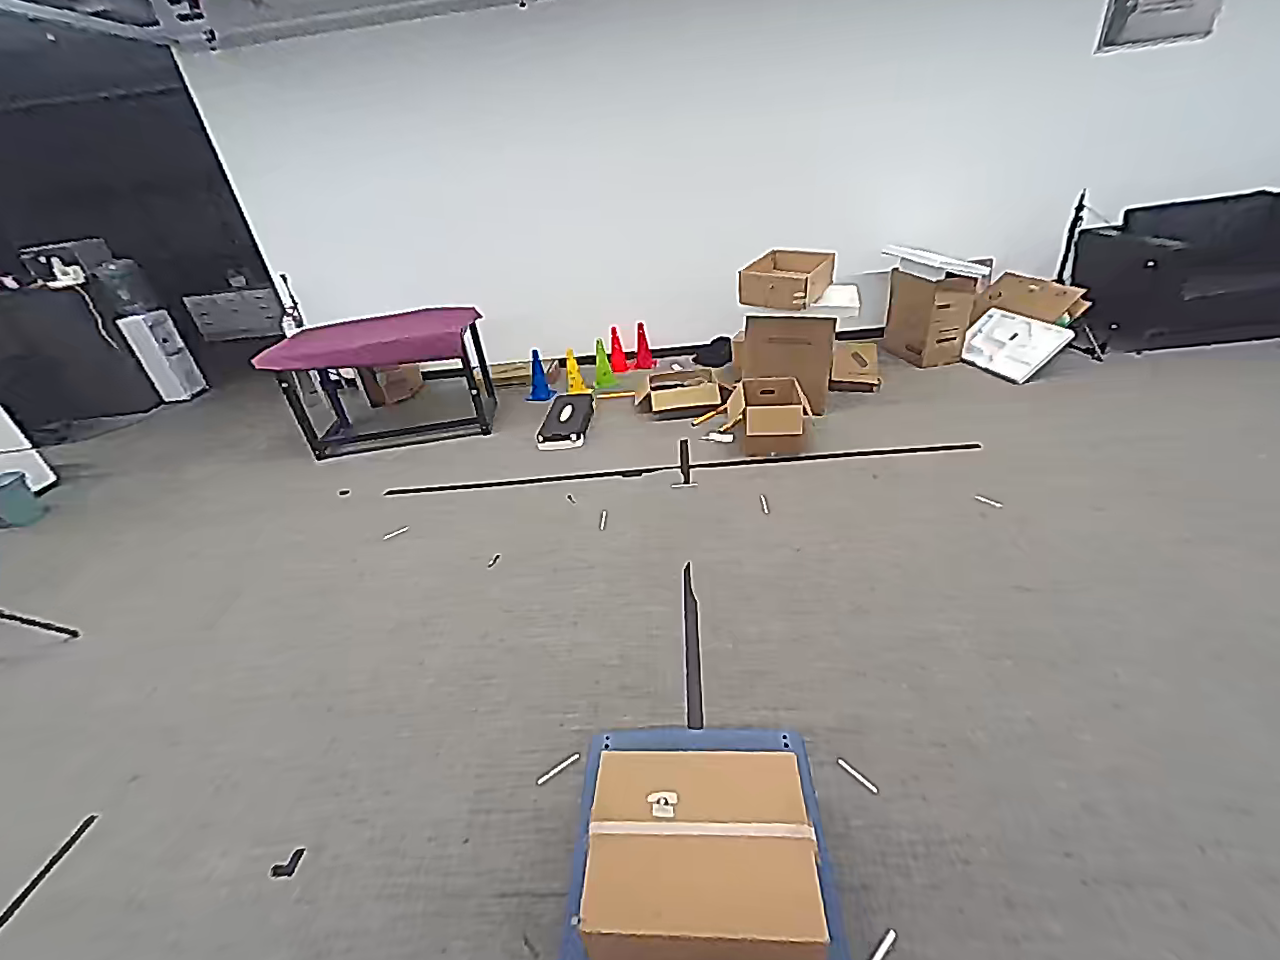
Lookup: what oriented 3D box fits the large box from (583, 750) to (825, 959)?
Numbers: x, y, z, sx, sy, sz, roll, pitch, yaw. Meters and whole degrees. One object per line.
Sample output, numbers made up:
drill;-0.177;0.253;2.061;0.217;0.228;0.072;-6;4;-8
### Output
large box;0.128;0.782;1.088;0.408;0.320;0.320;-4;31;7
